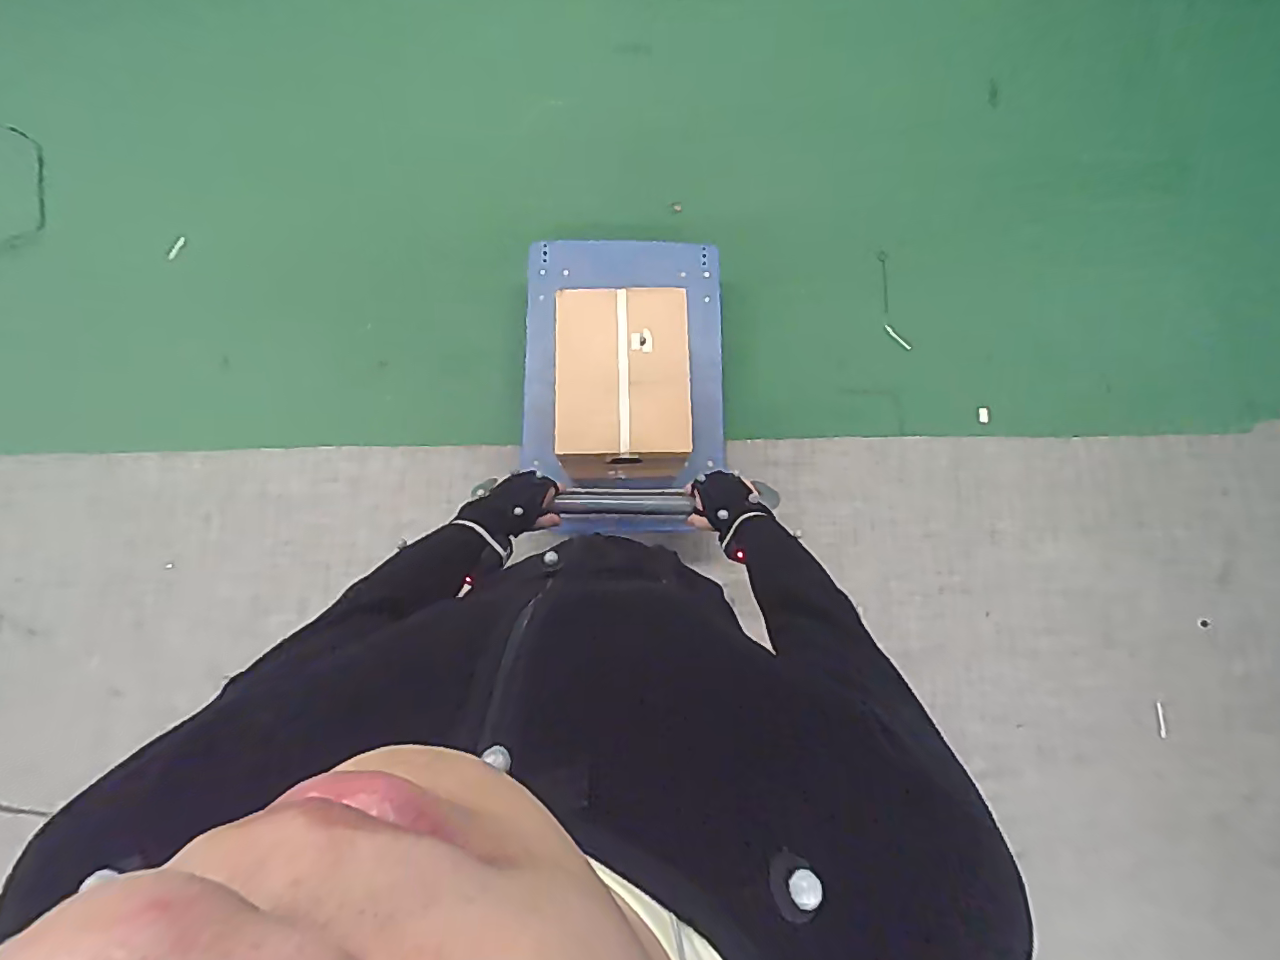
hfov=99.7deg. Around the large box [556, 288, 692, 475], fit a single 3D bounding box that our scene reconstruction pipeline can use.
[{"bbox_3d":[-0.043,-0.238,1.411,0.320,0.320,0.408,-1,80,-2],"label":"large box"}]
